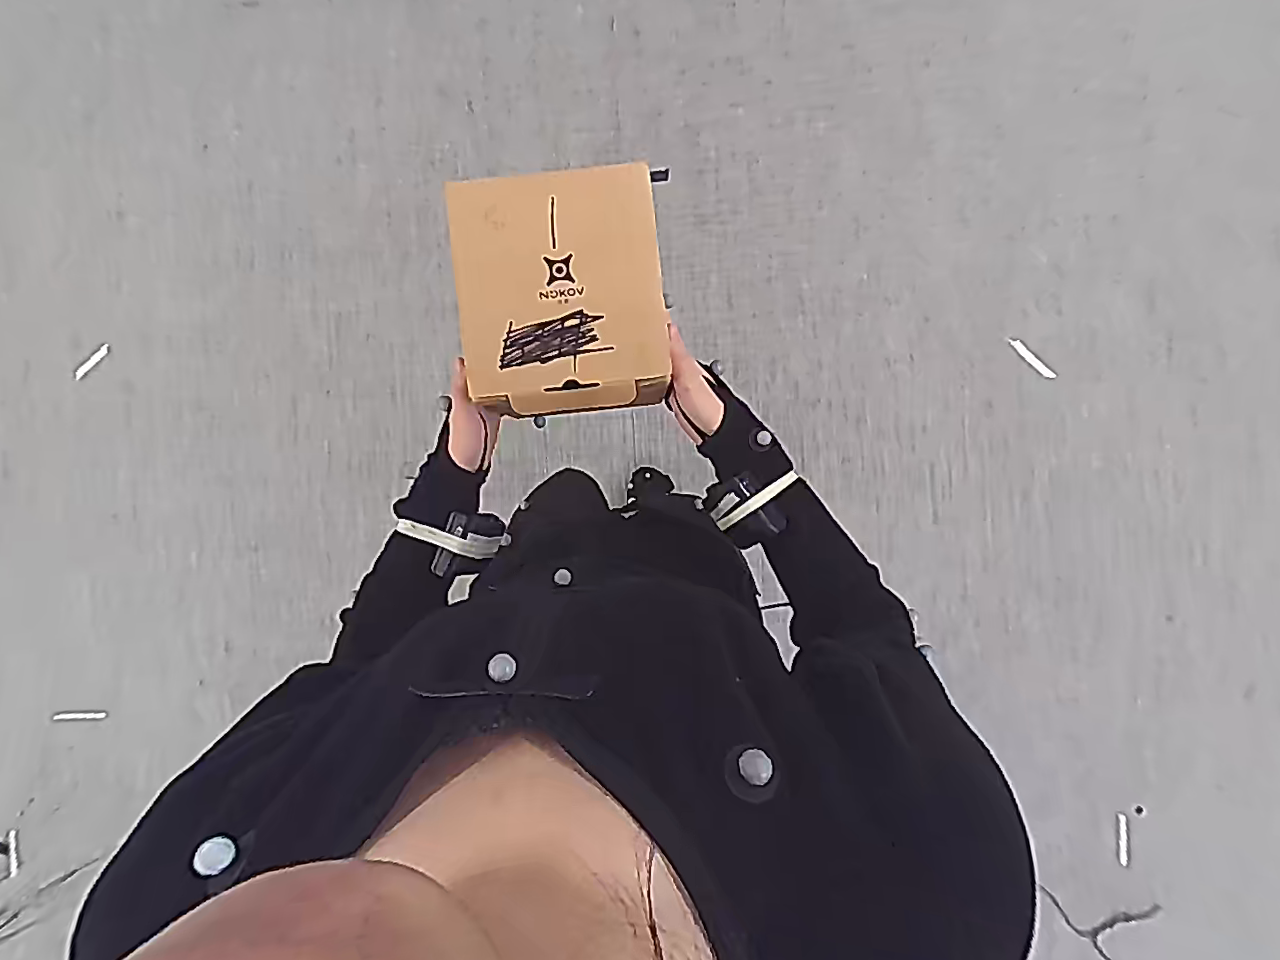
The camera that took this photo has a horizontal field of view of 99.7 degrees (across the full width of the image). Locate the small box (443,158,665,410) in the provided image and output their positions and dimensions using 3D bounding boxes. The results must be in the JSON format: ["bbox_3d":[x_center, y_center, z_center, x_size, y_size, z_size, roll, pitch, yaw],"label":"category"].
[{"bbox_3d":[-0.067,-0.163,0.510,0.168,0.176,0.179,-6,91,-1],"label":"small box"}]
